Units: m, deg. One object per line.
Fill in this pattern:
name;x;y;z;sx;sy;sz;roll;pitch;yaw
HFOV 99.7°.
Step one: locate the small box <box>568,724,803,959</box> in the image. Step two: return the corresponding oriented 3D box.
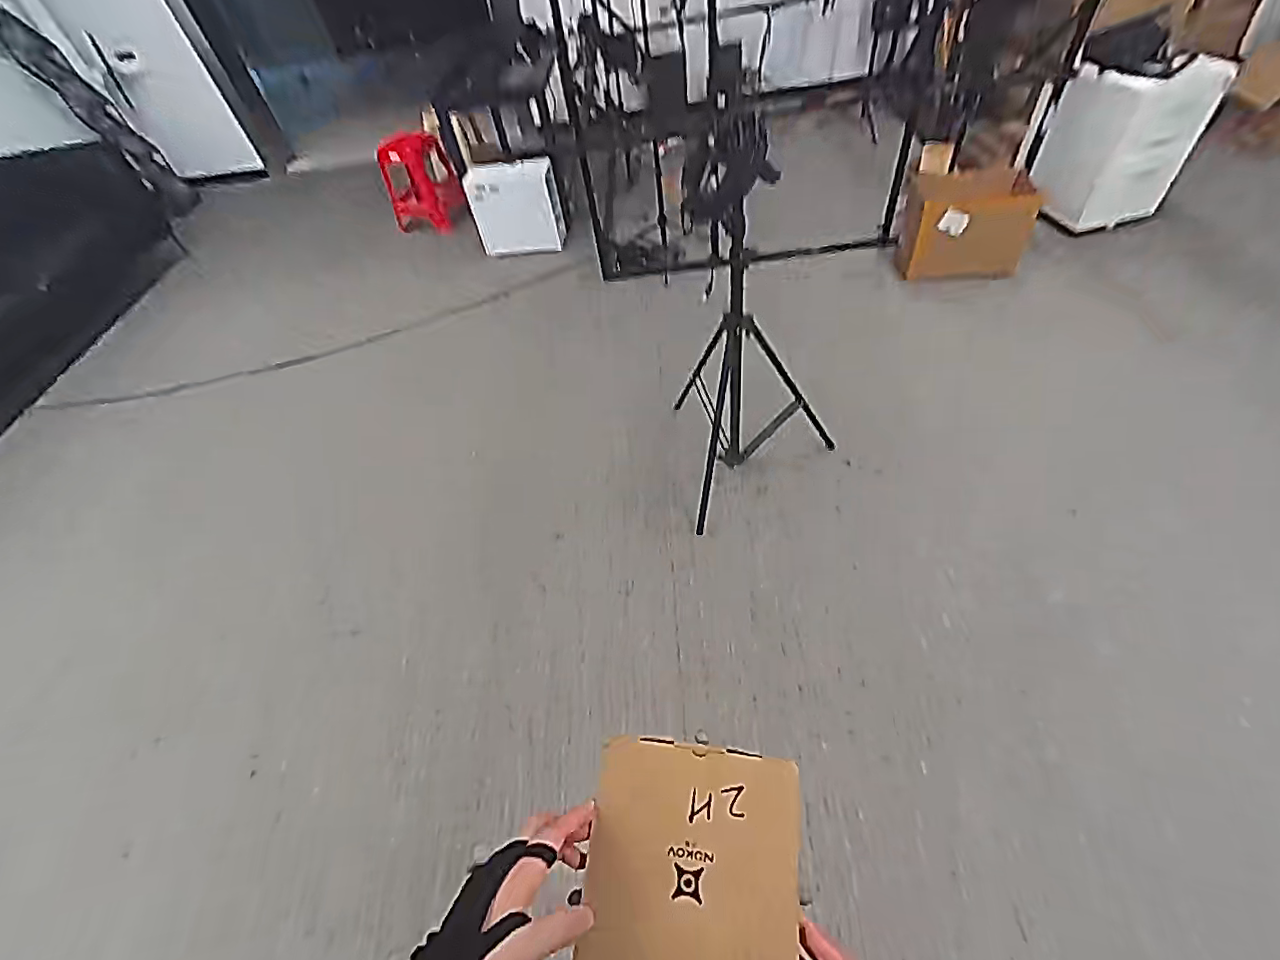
small box;0.048;0.324;0.477;0.168;0.176;0.179;4;64;9
